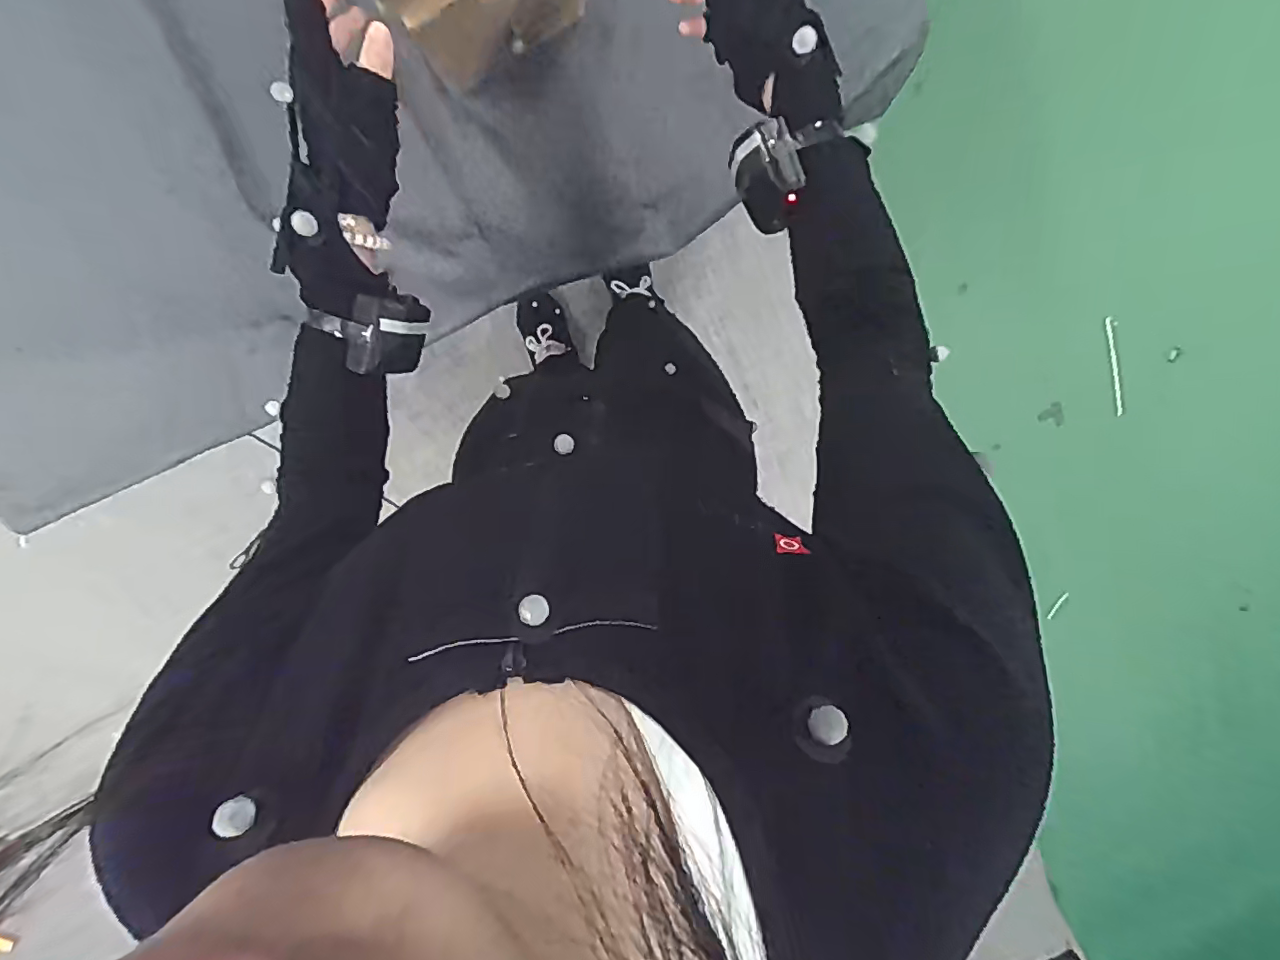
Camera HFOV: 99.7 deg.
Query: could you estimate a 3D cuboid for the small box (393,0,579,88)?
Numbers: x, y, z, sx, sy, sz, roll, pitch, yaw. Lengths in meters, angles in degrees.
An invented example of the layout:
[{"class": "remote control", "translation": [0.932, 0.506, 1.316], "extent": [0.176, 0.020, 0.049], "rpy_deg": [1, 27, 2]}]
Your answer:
[{"class": "small box", "translation": [-0.164, -0.496, 0.471], "extent": [0.168, 0.176, 0.179], "rpy_deg": [-29, 111, 5]}]
